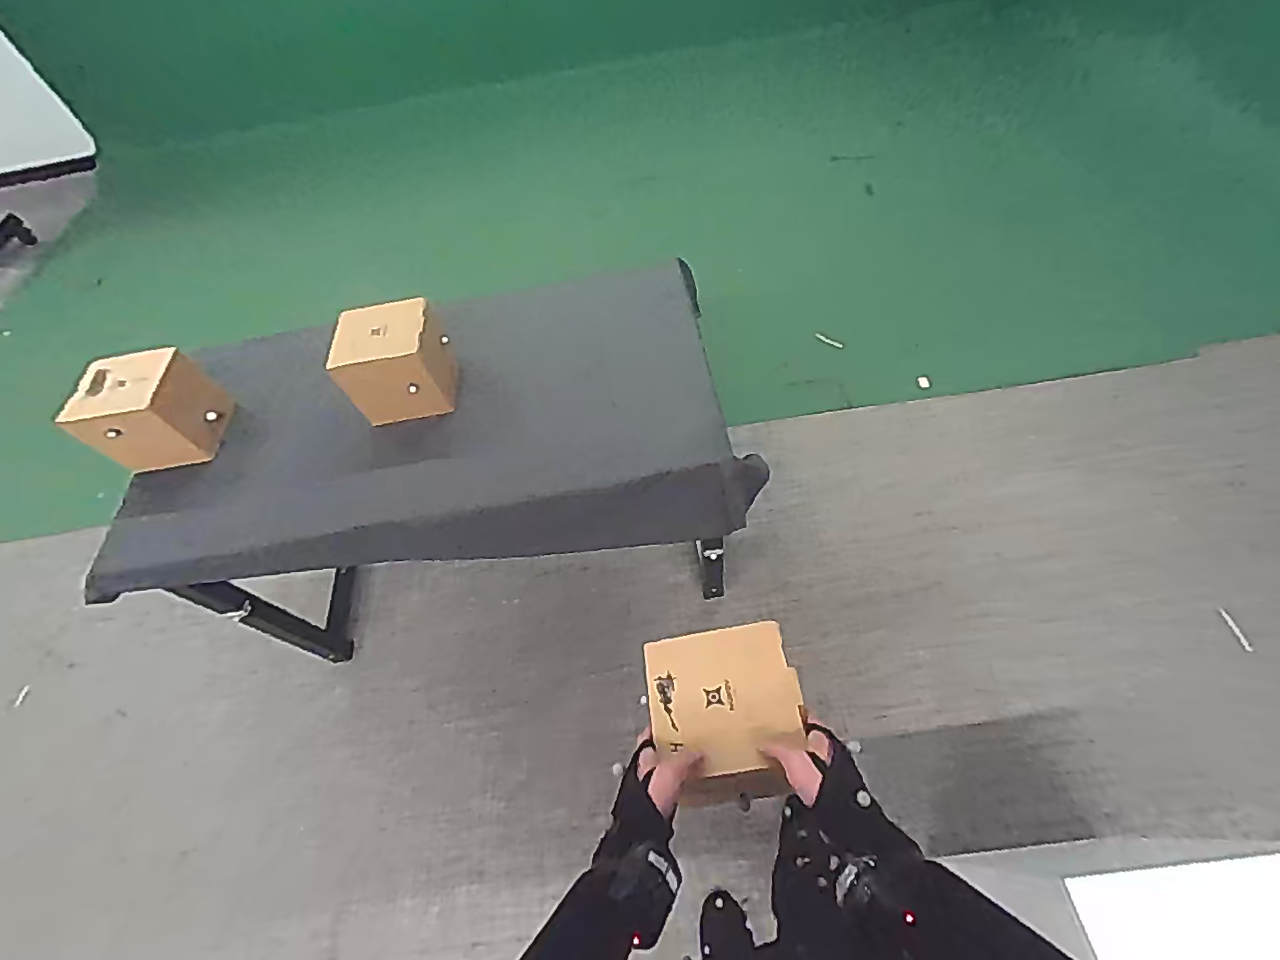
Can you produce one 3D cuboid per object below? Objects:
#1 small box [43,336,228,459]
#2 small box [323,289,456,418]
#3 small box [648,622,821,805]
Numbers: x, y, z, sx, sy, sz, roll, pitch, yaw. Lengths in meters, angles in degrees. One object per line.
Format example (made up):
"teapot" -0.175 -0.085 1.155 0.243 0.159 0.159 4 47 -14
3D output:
"small box" -0.978 -0.157 1.069 0.179 0.176 0.168 -8 57 0
"small box" -0.481 -0.246 1.071 0.179 0.176 0.168 -10 56 2
"small box" 0.114 0.302 0.692 0.179 0.176 0.168 -11 50 4
